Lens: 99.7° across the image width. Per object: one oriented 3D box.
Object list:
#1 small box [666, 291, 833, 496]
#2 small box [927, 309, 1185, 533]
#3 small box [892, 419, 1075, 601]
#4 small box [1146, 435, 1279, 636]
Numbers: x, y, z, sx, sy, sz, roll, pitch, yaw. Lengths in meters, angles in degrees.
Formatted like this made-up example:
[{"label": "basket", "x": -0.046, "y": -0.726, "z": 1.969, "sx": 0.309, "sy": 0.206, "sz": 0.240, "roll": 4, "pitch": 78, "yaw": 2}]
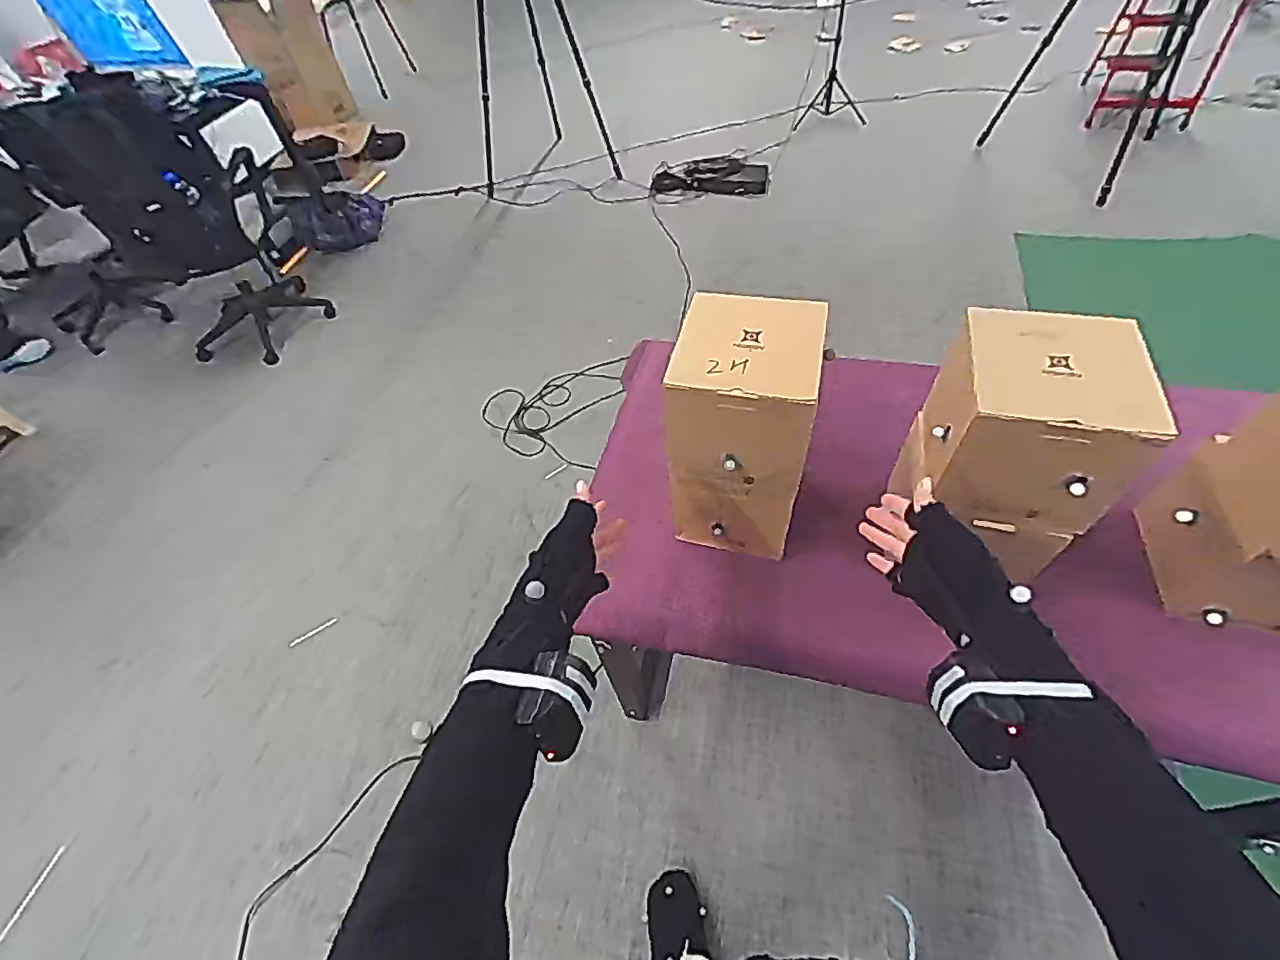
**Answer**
[{"label": "small box", "x": 0.135, "y": -0.108, "z": 0.676, "sx": 0.168, "sy": 0.176, "sz": 0.179, "roll": 10, "pitch": 55, "yaw": 14}, {"label": "small box", "x": 0.435, "y": -0.063, "z": 0.604, "sx": 0.168, "sy": 0.176, "sz": 0.179, "roll": 10, "pitch": 54, "yaw": 15}, {"label": "small box", "x": 0.448, "y": 0.042, "z": 0.733, "sx": 0.168, "sy": 0.176, "sz": 0.179, "roll": 8, "pitch": 53, "yaw": 18}, {"label": "small box", "x": 0.775, "y": 0.076, "z": 0.657, "sx": 0.168, "sy": 0.176, "sz": 0.179, "roll": 13, "pitch": 56, "yaw": 14}]
